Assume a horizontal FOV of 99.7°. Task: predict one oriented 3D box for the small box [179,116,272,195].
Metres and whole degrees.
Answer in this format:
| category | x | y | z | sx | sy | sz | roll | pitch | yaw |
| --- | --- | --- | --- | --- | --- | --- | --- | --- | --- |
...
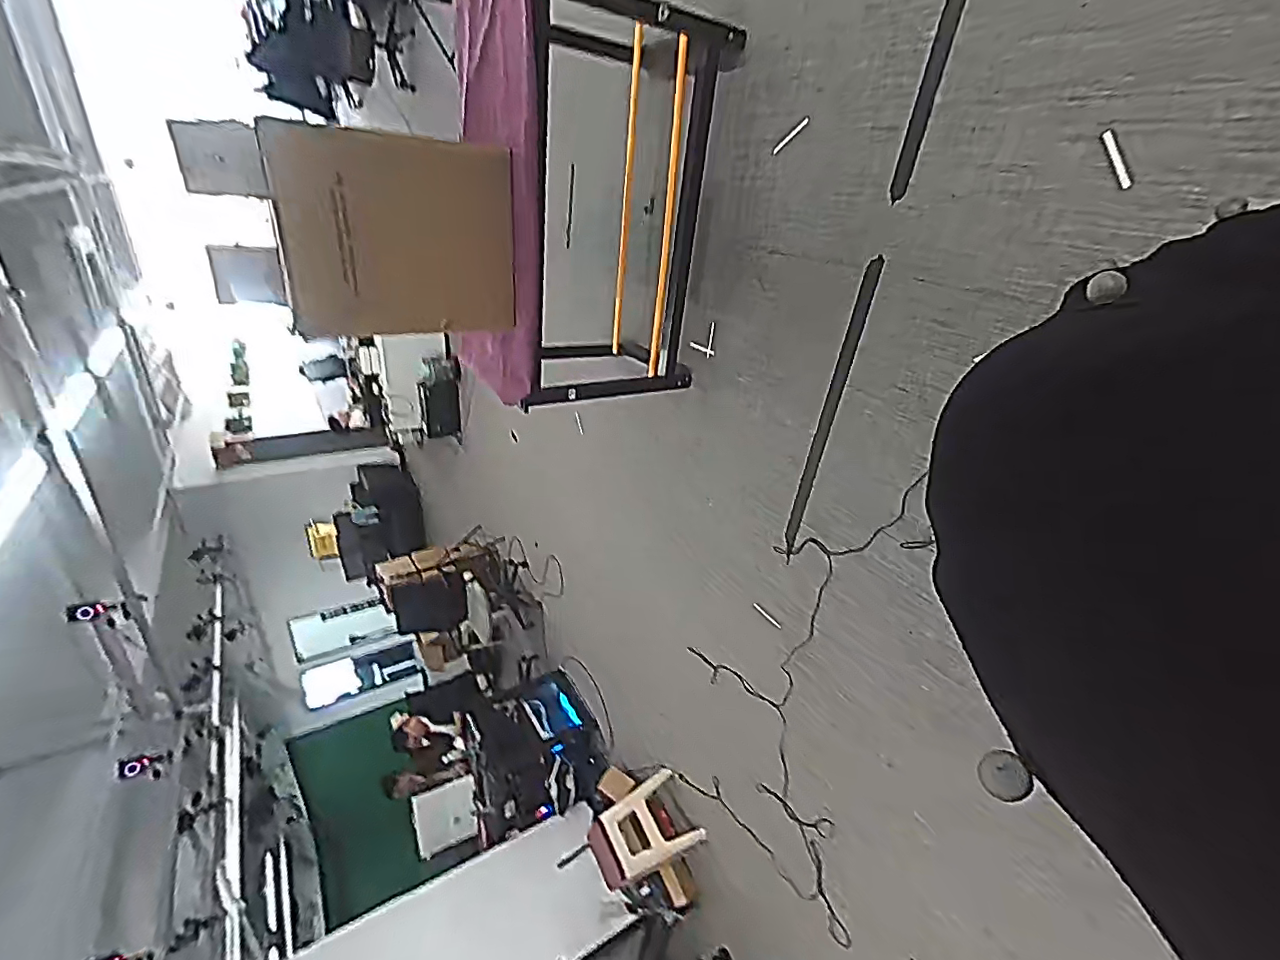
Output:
| category | x | y | z | sx | sy | sz | roll | pitch | yaw |
| --- | --- | --- | --- | --- | --- | --- | --- | --- | --- |
| small box | -1.113 | -0.876 | 1.465 | 0.179 | 0.176 | 0.168 | 40 | 134 | 45 |
